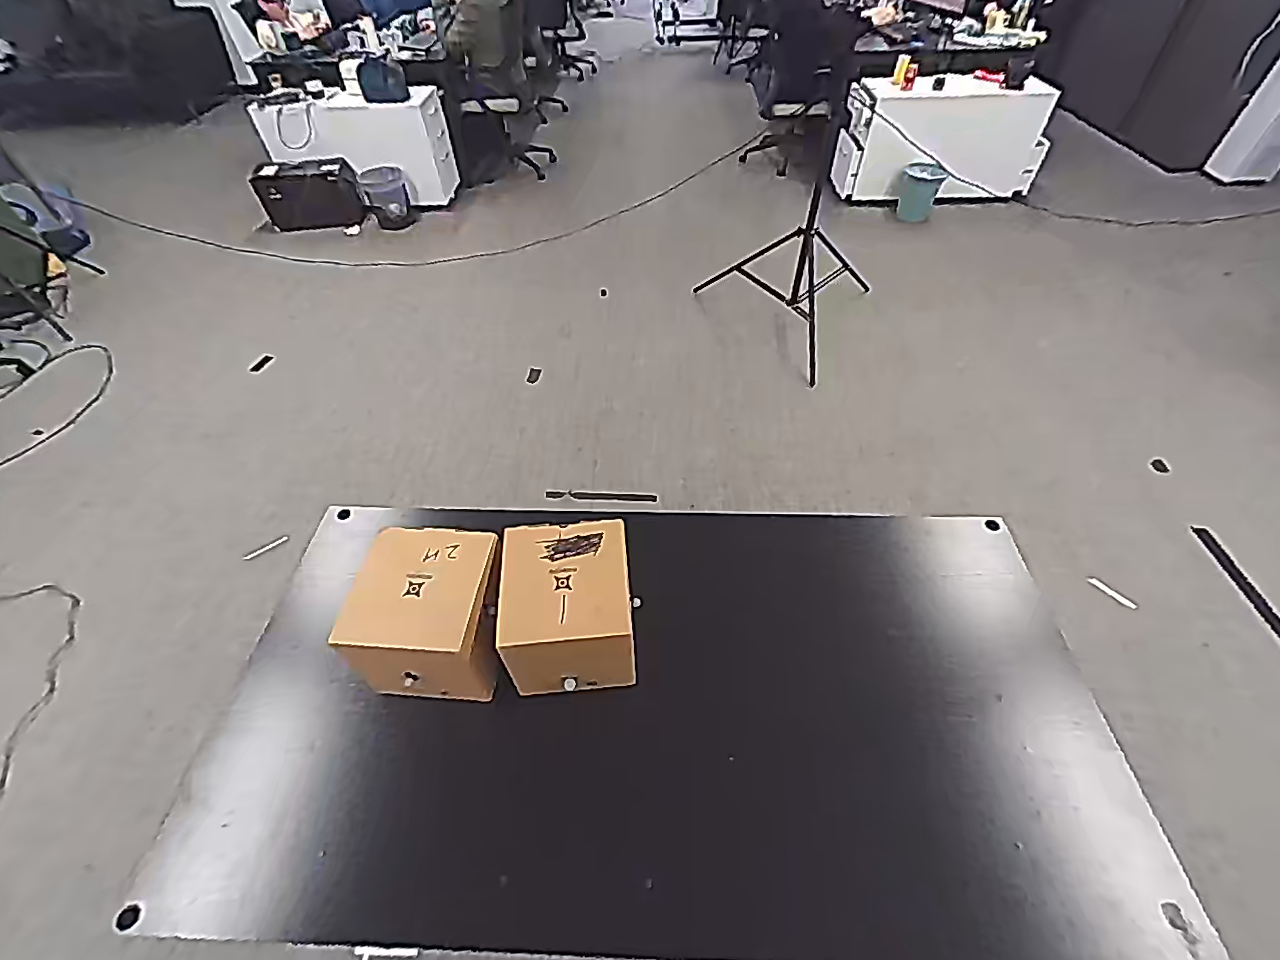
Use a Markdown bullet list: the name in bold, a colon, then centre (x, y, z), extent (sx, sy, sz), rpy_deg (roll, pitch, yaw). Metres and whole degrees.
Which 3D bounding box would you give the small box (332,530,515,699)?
- **small box**: centre (-0.284, 0.192, 0.761), extent (0.168, 0.176, 0.179), rpy_deg (3, 48, 3)
